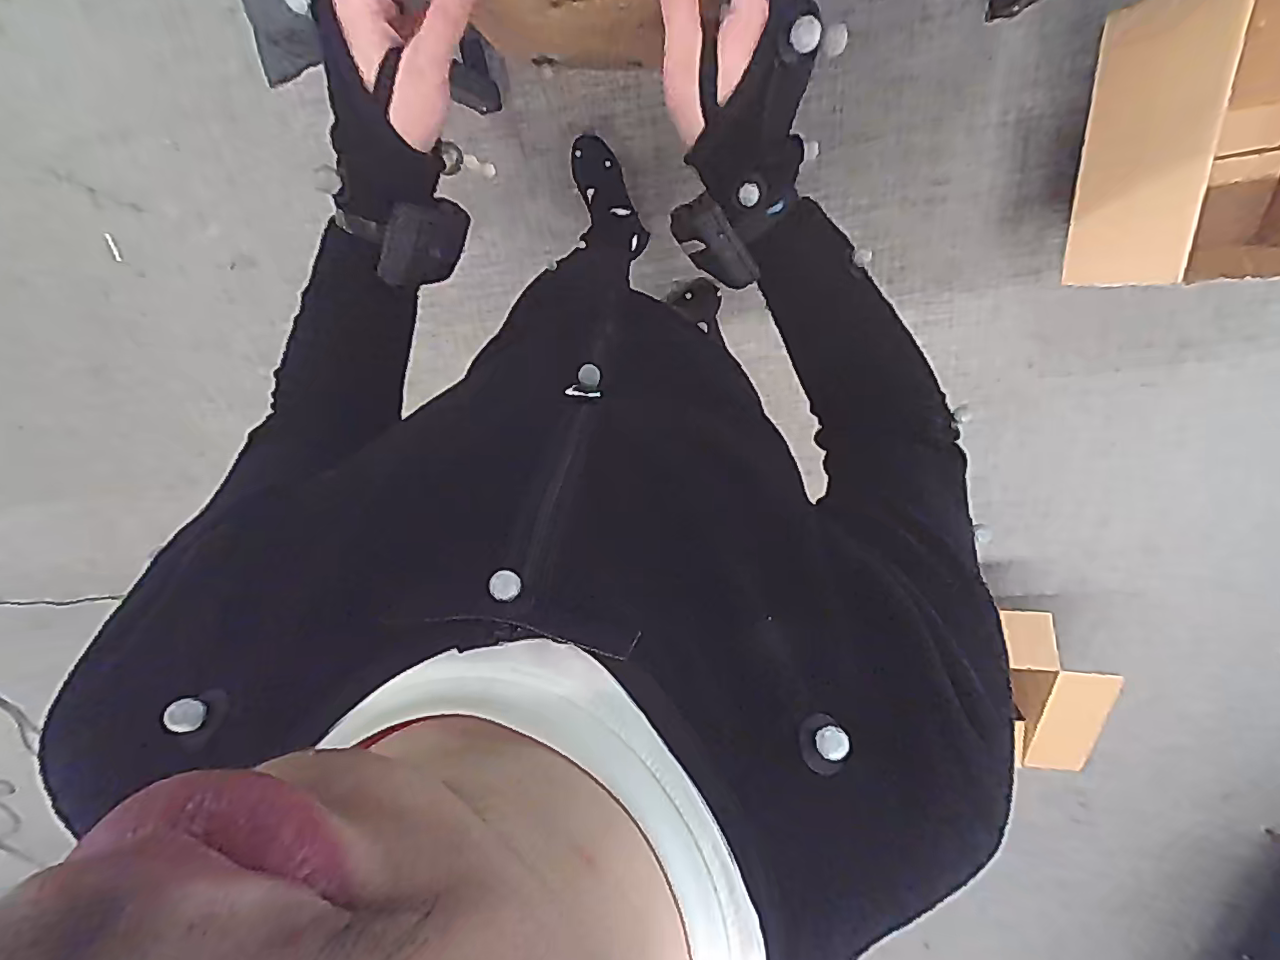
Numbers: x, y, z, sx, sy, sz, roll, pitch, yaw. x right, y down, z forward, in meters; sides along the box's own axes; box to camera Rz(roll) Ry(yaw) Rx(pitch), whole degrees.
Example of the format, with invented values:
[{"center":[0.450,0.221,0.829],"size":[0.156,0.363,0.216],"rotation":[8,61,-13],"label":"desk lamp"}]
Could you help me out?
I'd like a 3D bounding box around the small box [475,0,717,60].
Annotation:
[{"center":[-0.025,-0.397,0.345],"size":[0.168,0.176,0.179],"rotation":[3,114,1],"label":"small box"}]
